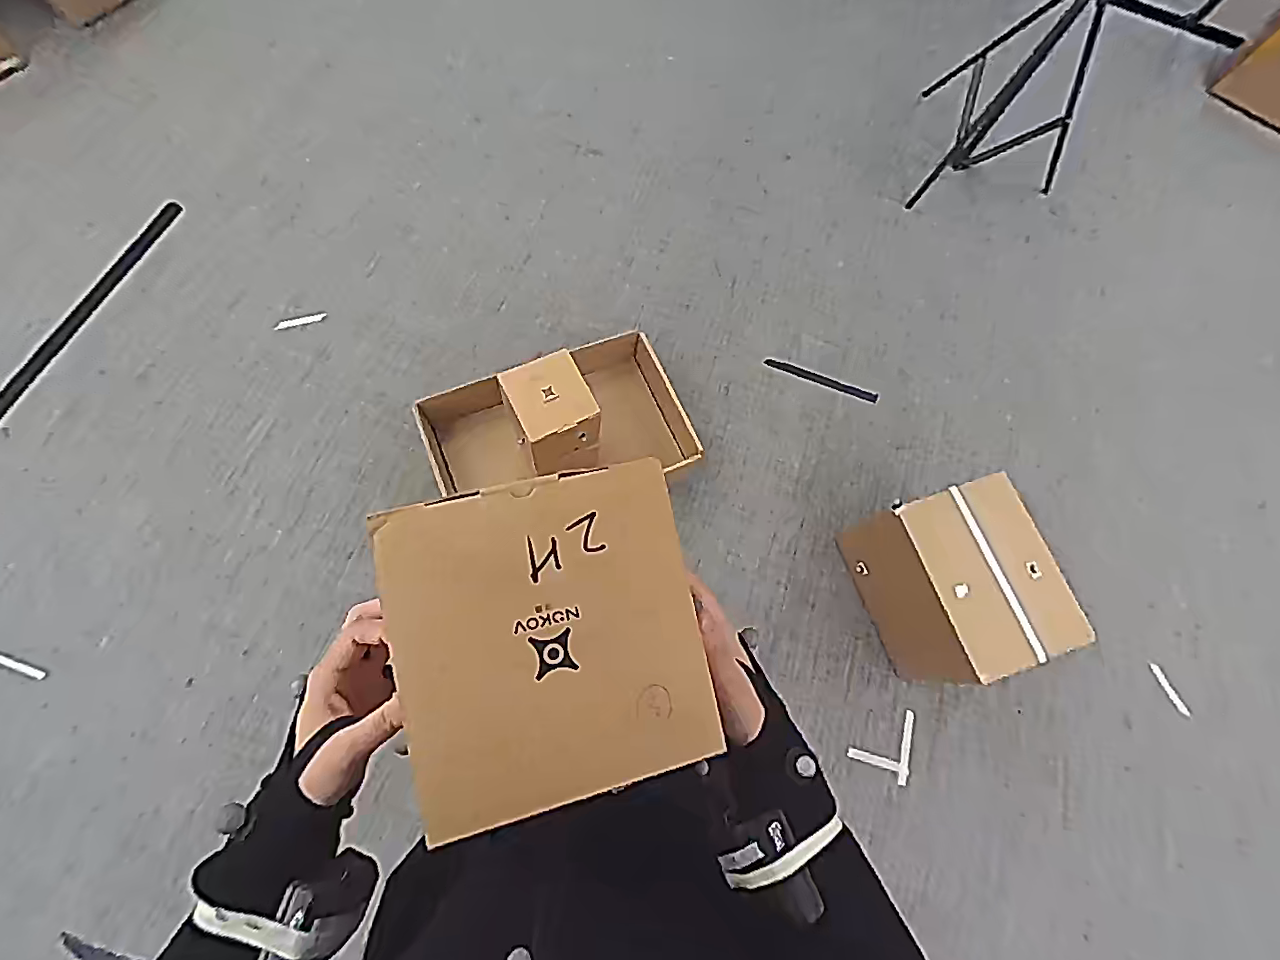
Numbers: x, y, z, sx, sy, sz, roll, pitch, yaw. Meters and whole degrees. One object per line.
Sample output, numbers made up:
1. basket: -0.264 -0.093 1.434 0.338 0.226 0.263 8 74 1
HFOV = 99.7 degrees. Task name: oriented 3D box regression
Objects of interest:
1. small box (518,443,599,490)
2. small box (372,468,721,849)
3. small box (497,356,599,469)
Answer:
1. small box: -0.215 -0.090 1.372 0.168 0.176 0.179 -22 76 -13
2. small box: -0.063 0.101 0.378 0.168 0.176 0.179 -12 85 -13
3. small box: -0.203 -0.142 1.219 0.168 0.176 0.179 -26 75 -16
